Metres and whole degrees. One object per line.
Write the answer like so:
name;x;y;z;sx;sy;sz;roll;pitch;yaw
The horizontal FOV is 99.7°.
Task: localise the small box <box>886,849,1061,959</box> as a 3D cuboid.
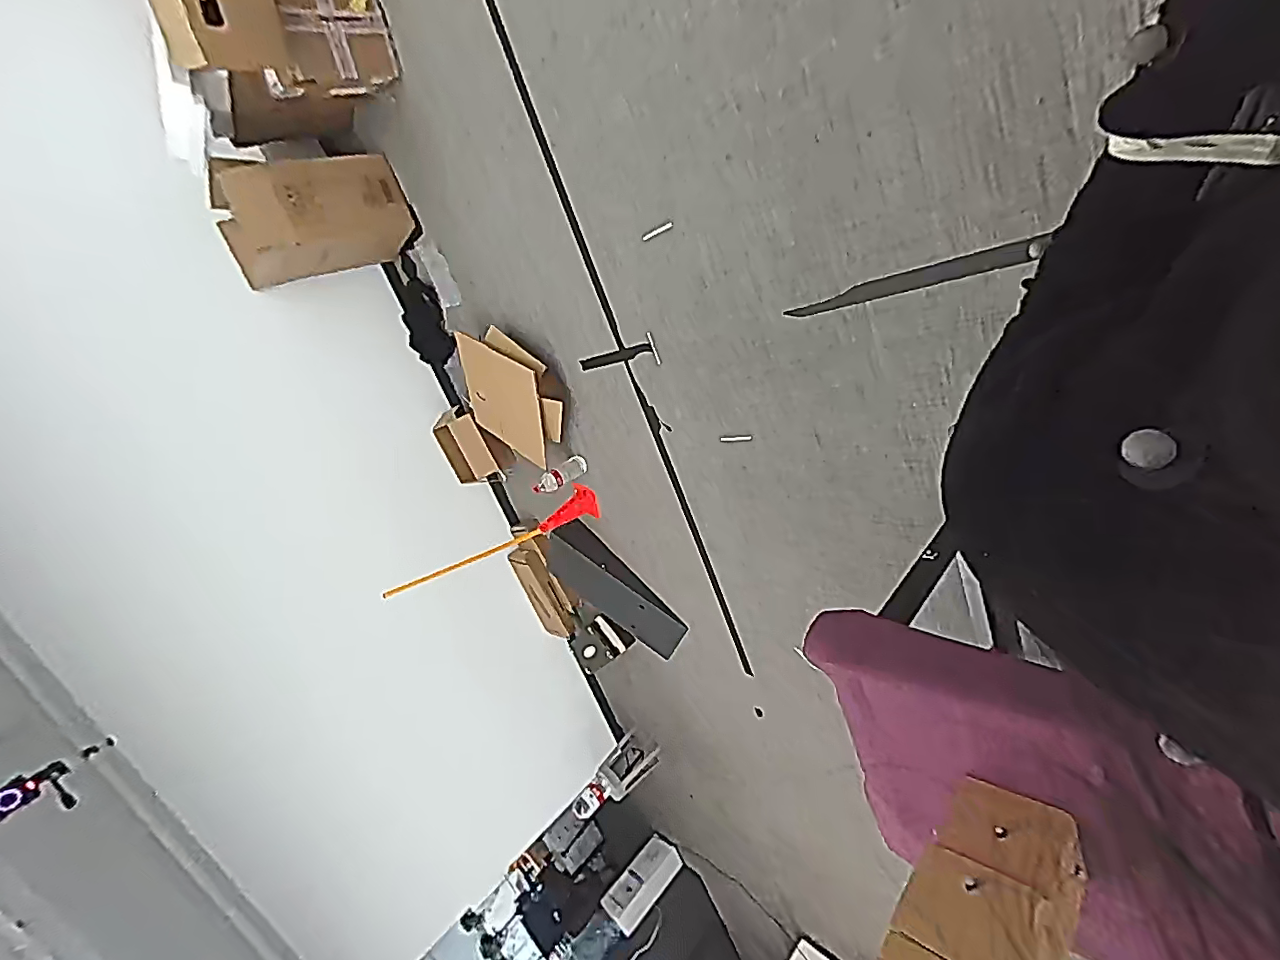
small box;0.536;0.744;0.868;0.179;0.176;0.168;-6;113;53
